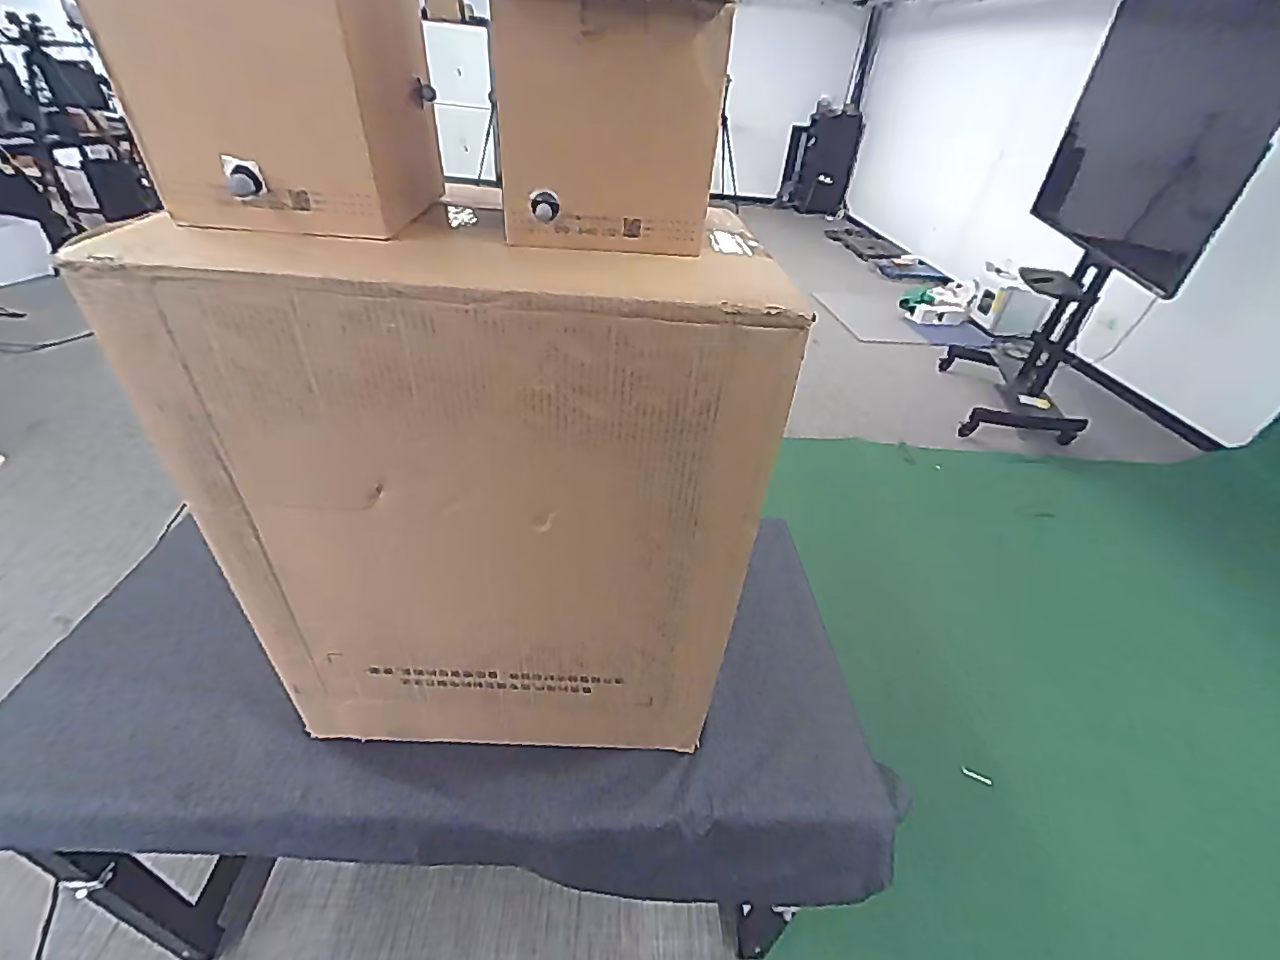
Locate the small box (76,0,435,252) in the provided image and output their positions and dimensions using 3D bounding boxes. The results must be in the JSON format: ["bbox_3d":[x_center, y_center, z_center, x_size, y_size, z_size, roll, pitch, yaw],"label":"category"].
[{"bbox_3d":[-0.280,-0.301,0.441,0.168,0.176,0.179,0,40,-3],"label":"small box"}]

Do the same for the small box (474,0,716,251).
[{"bbox_3d":[-0.040,-0.308,0.469,0.168,0.176,0.179,-1,38,-8],"label":"small box"}]
